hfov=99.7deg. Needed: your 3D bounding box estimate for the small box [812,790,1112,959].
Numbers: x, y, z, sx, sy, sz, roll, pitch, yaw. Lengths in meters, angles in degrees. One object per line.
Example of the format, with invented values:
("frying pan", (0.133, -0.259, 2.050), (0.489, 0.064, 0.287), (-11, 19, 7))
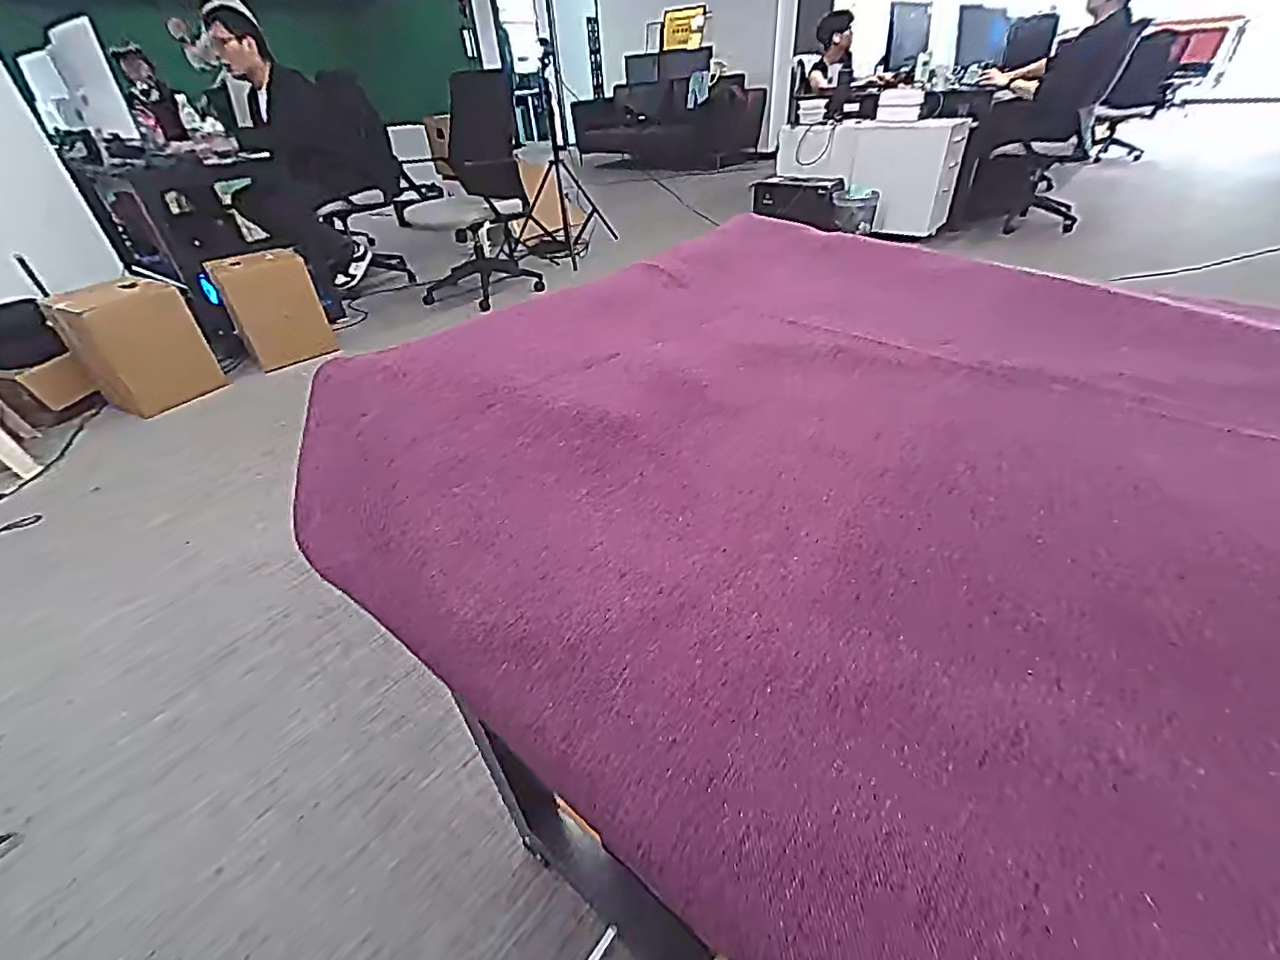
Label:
("small box", (0.270, 0.435, 0.488), (0.168, 0.176, 0.179), (29, 52, 30))
